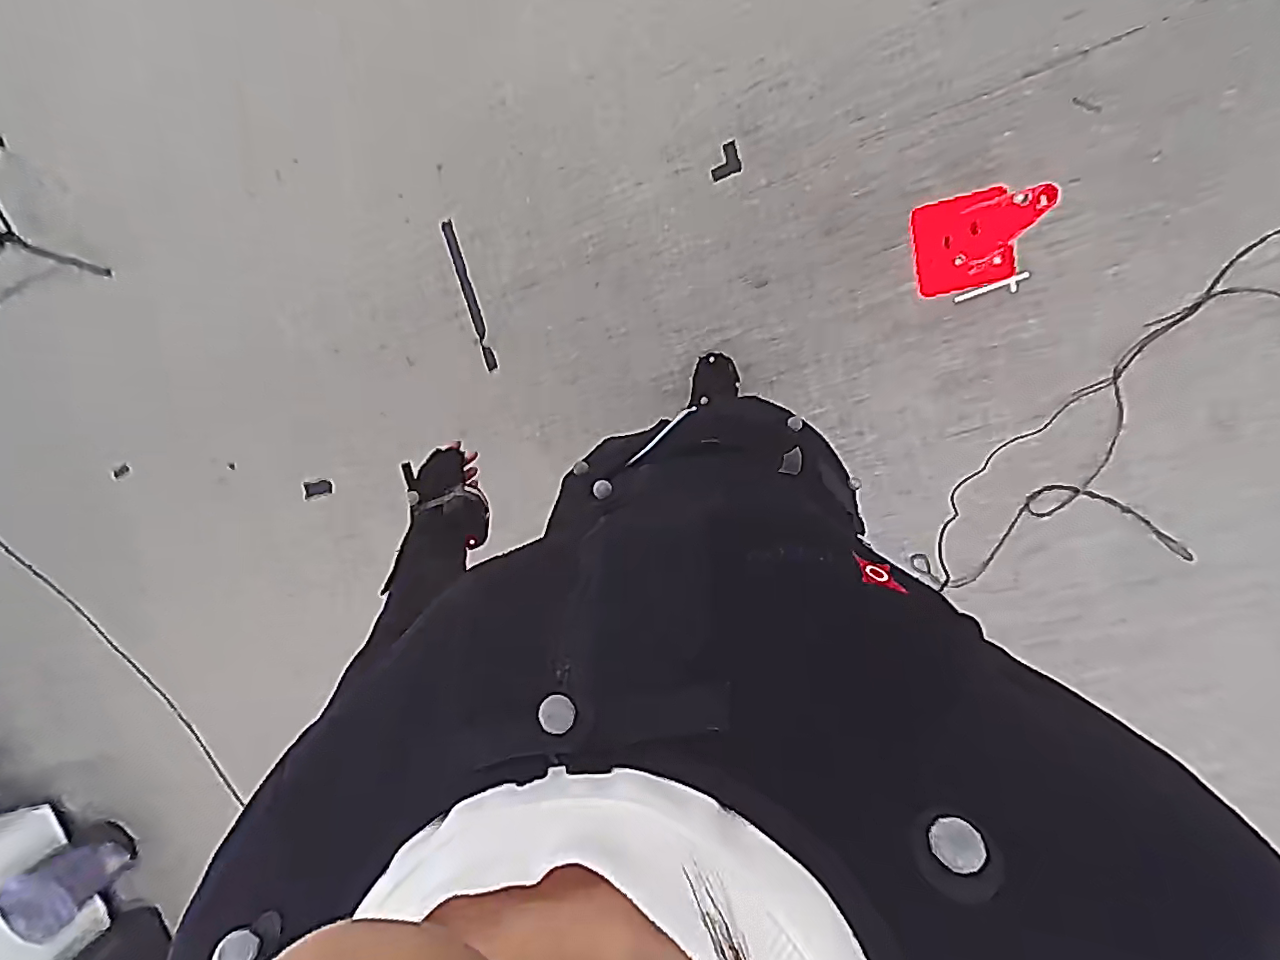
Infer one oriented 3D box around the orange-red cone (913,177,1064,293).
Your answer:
[{"bbox_3d":[0.683,-0.496,1.026,0.198,0.360,0.199,-9,98,12],"label":"orange-red cone"}]
